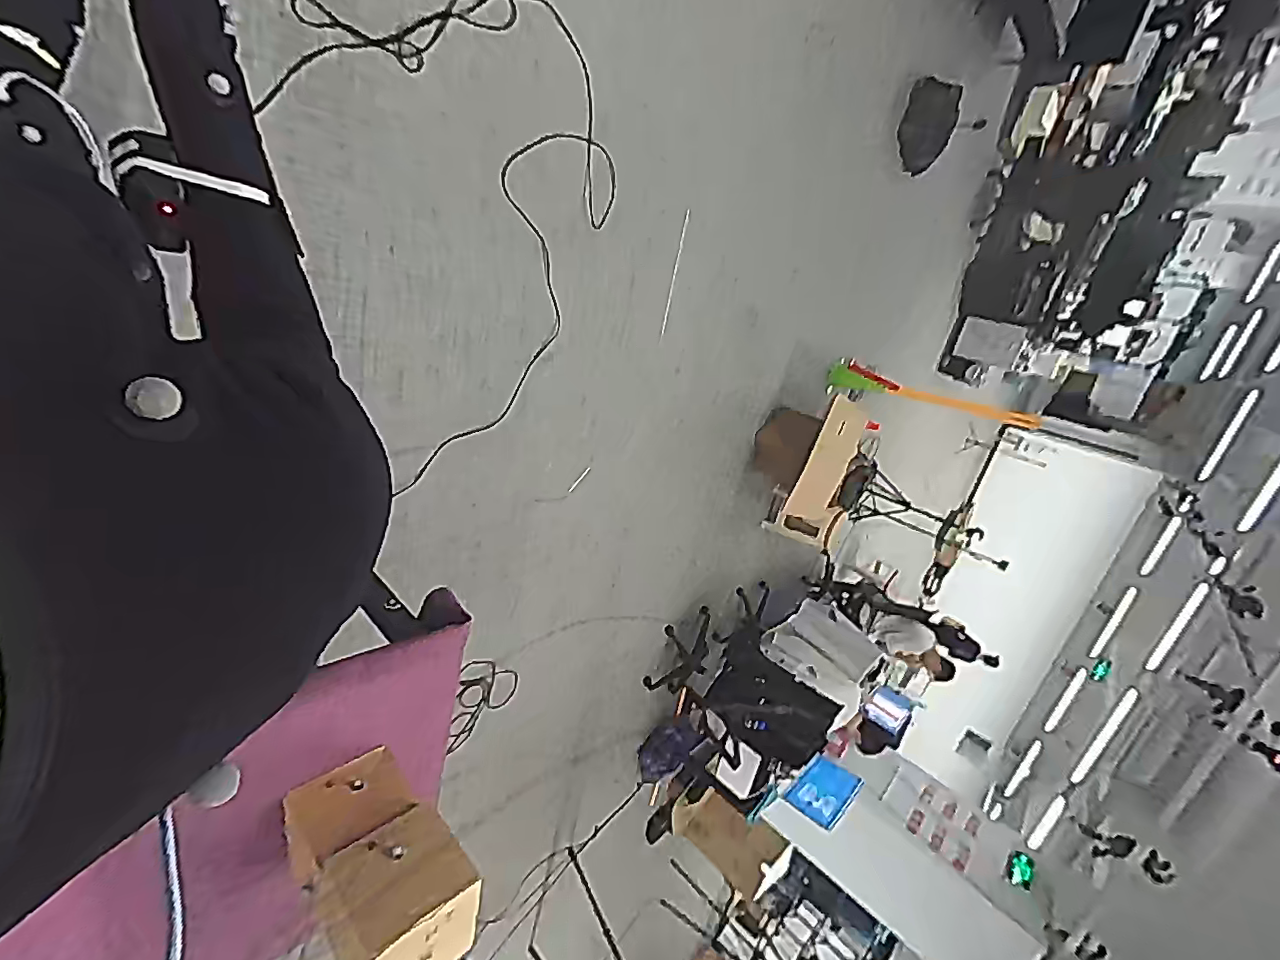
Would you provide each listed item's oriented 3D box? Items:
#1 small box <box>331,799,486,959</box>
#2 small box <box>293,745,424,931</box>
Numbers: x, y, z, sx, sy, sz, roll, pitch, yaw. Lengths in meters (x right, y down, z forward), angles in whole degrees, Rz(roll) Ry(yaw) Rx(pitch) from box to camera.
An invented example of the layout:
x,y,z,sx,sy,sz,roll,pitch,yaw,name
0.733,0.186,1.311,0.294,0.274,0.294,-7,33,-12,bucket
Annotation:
x,y,z,sx,sy,sz,roll,pitch,yaw,name
-0.367,0.658,0.851,0.168,0.176,0.179,-12,121,-47,small box
-0.491,0.616,0.954,0.168,0.176,0.179,-14,122,-46,small box
